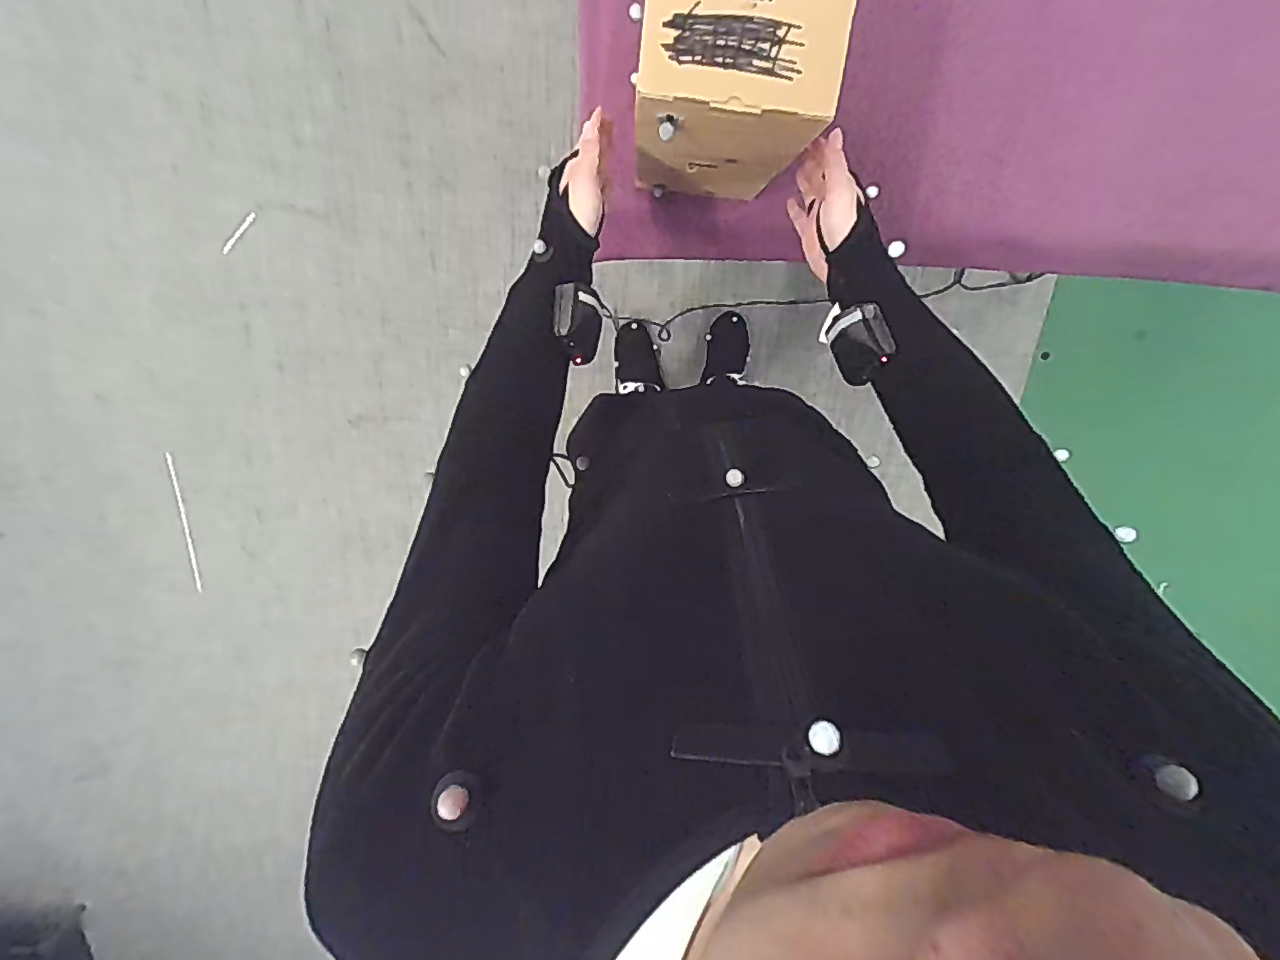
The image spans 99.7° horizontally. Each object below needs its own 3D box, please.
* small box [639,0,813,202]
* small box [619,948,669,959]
[{"bbox_3d":[0.089,-0.451,0.653,0.168,0.176,0.179,5,106,-3],"label":"small box"},{"bbox_3d":[0.004,1.588,1.647,0.168,0.176,0.179,11,106,-4],"label":"small box"}]
